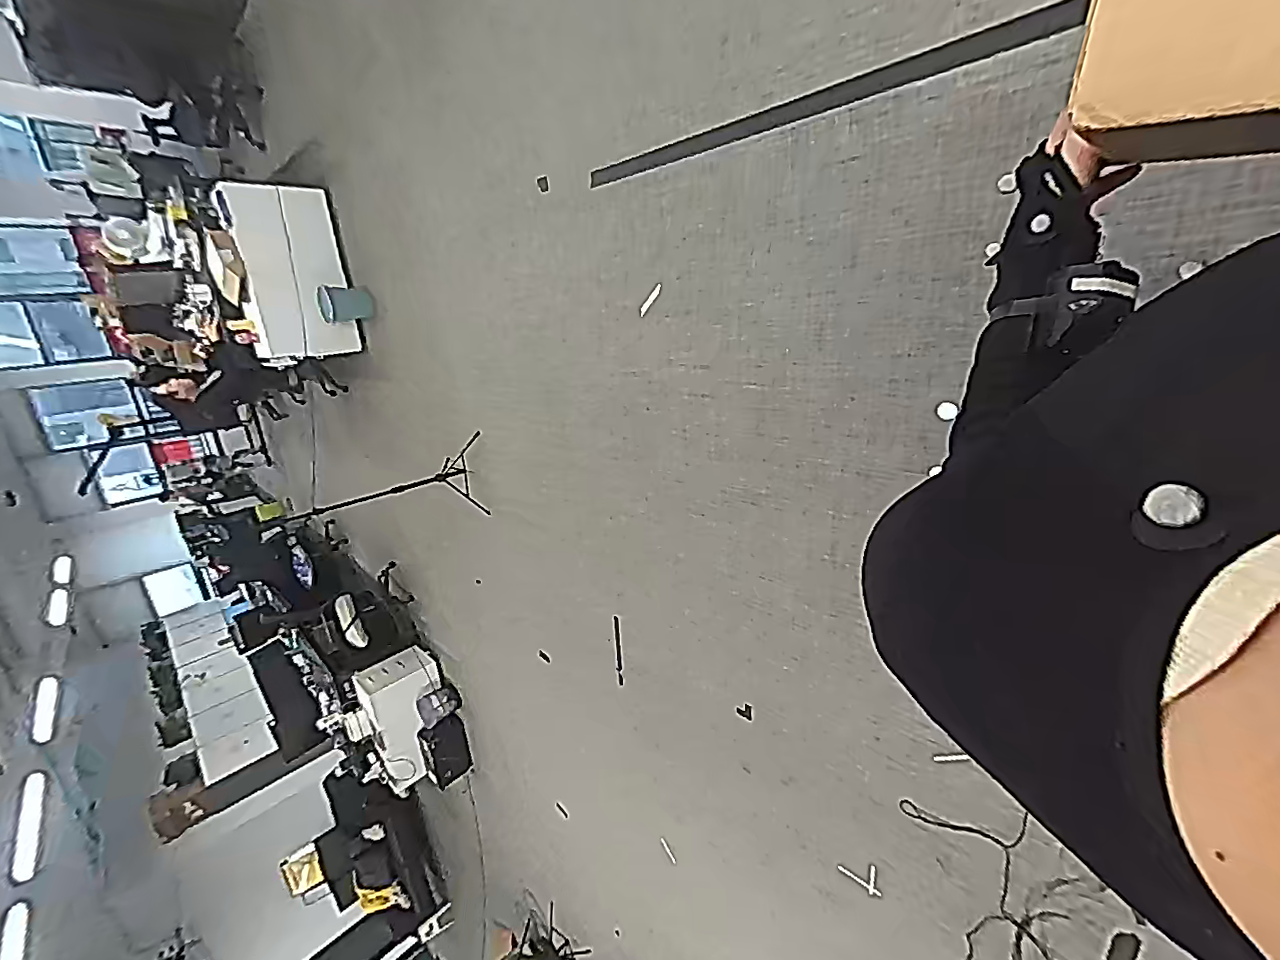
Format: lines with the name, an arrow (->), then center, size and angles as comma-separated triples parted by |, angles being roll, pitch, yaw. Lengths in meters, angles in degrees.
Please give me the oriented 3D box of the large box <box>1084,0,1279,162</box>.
large box -> 0.433, -0.311, 0.170 | 0.408, 0.320, 0.320 | 16, 121, 36
